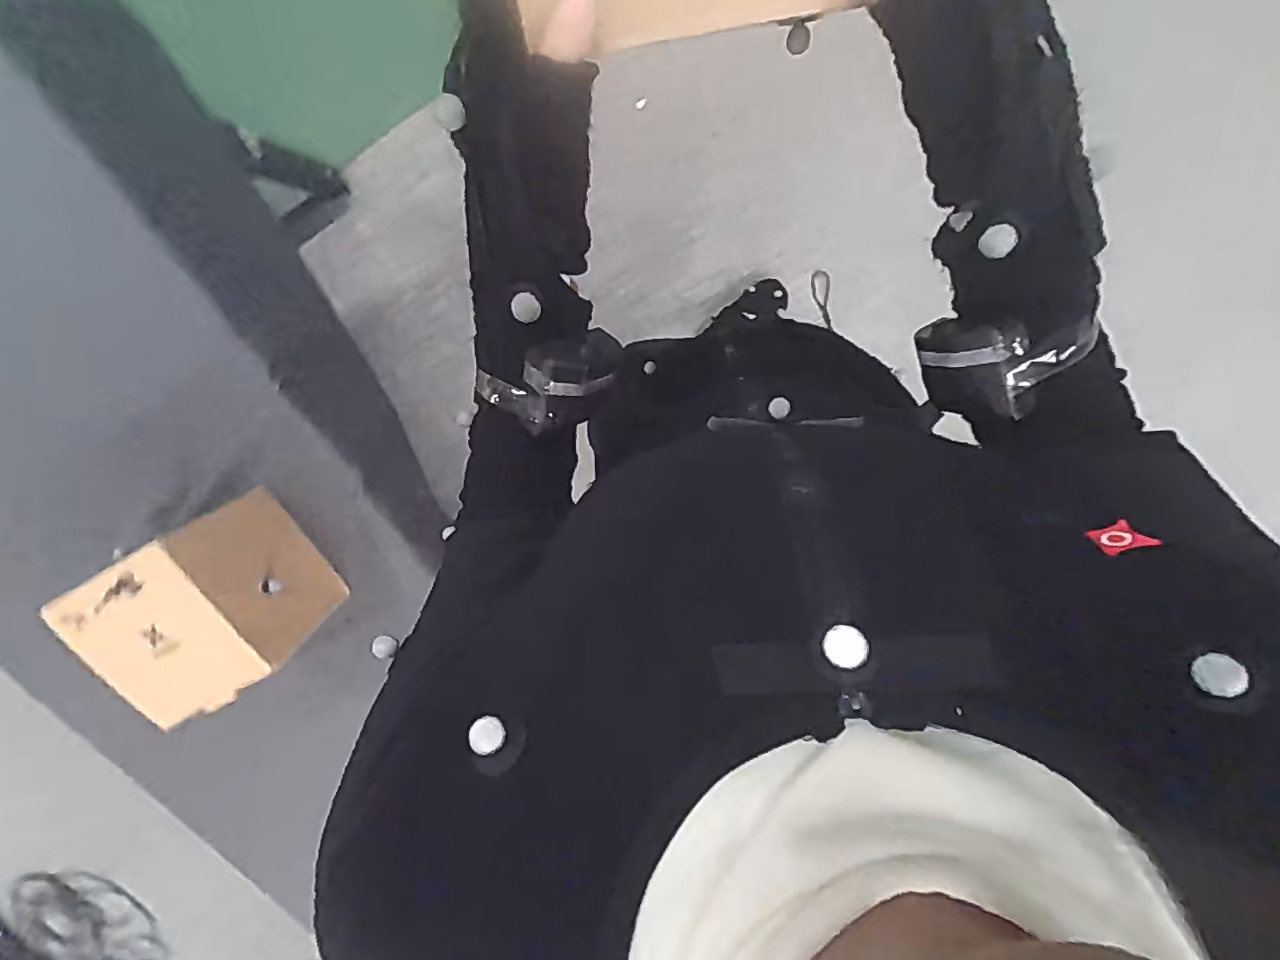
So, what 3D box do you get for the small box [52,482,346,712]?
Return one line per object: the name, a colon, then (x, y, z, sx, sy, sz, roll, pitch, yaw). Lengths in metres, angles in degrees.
small box: (-0.503, 0.131, 0.651, 0.168, 0.176, 0.179, -30, 106, 11)
